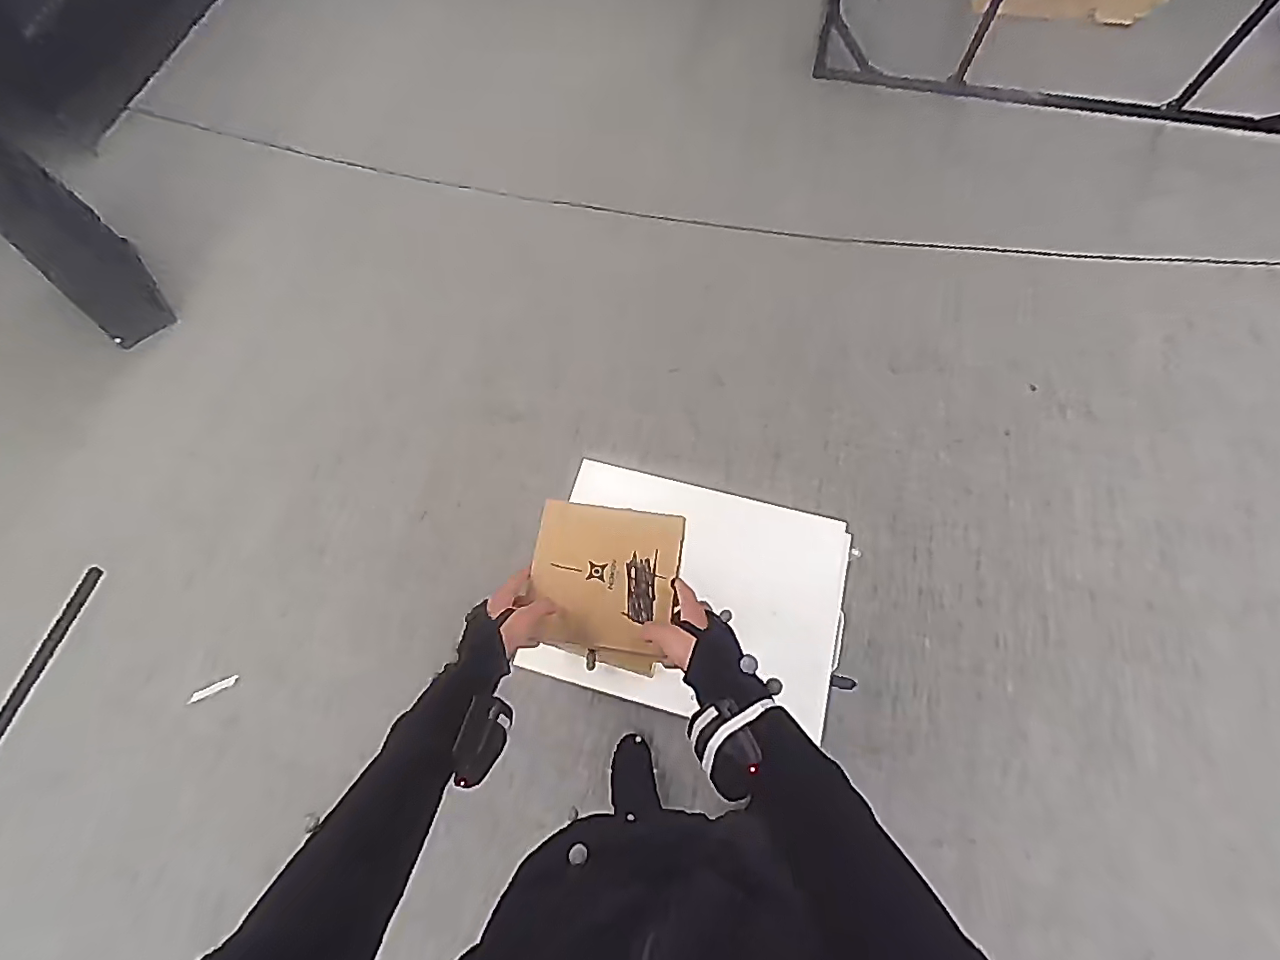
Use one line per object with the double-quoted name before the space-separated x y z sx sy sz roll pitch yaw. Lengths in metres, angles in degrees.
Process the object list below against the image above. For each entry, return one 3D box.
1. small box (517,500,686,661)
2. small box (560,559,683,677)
"small box" -0.039 0.139 0.704 0.179 0.176 0.168 7 69 6
"small box" -0.036 0.201 0.860 0.168 0.176 0.179 15 69 8
